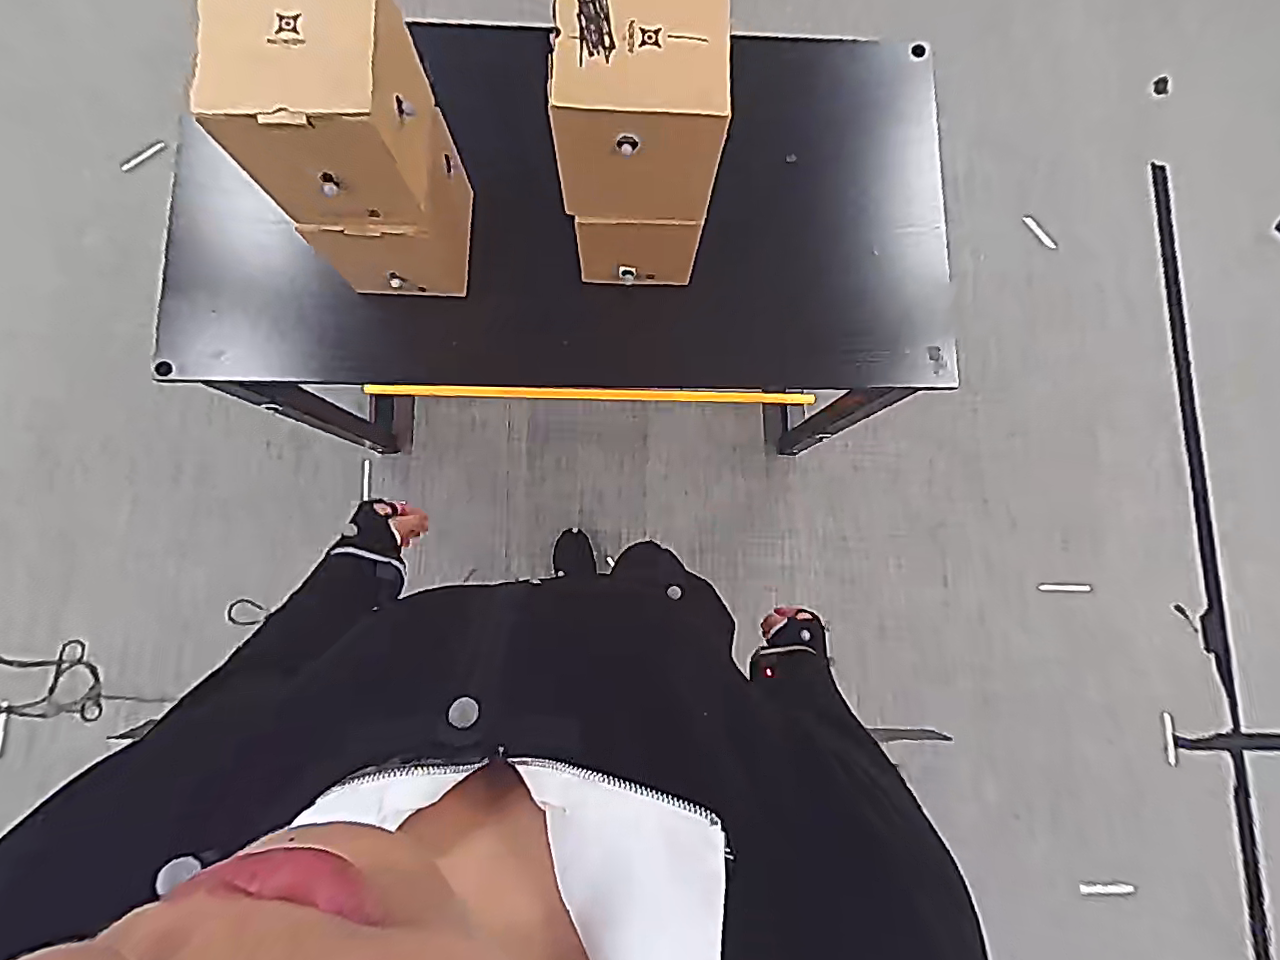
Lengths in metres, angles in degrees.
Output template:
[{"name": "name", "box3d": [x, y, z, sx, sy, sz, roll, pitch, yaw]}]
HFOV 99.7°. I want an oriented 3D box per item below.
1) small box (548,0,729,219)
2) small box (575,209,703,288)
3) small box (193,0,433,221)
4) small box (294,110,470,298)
[{"name": "small box", "box3d": [-0.002, -0.418, 0.608, 0.179, 0.176, 0.168, 1, 83, -2]}, {"name": "small box", "box3d": [-0.005, -0.397, 0.771, 0.168, 0.176, 0.179, -1, 84, -2]}, {"name": "small box", "box3d": [-0.334, -0.405, 0.588, 0.168, 0.176, 0.179, -1, 83, -3]}, {"name": "small box", "box3d": [-0.340, -0.376, 0.749, 0.168, 0.176, 0.179, 2, 83, -2]}]
